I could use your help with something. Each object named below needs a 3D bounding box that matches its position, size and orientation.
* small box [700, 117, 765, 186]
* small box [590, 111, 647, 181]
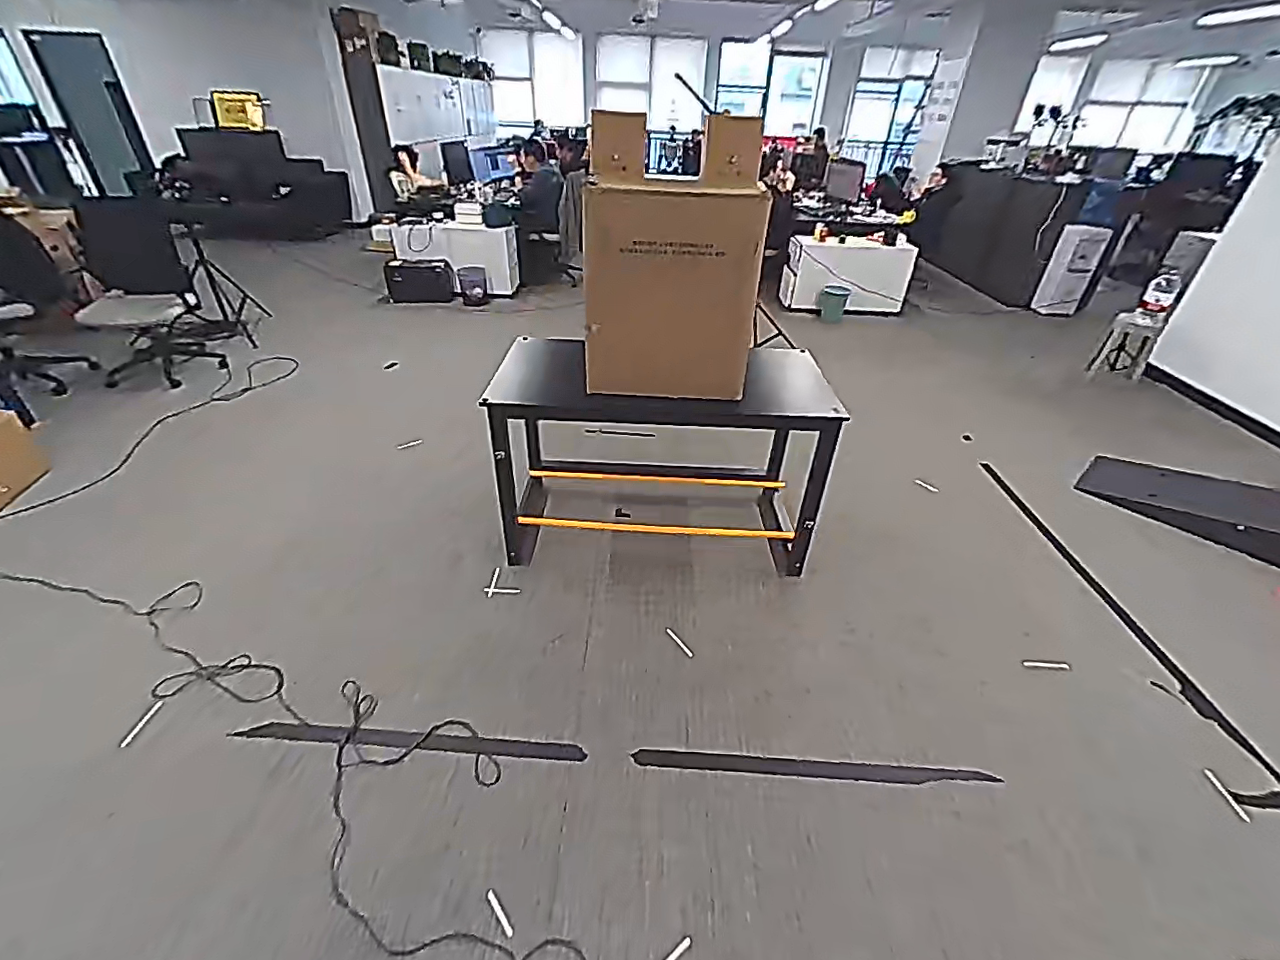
[{"bbox_3d":[0.278,-1.011,1.663,0.168,0.176,0.179,1,33,1],"label":"small box"},{"bbox_3d":[-0.070,-1.037,1.681,0.168,0.176,0.179,0,34,-5],"label":"small box"}]
